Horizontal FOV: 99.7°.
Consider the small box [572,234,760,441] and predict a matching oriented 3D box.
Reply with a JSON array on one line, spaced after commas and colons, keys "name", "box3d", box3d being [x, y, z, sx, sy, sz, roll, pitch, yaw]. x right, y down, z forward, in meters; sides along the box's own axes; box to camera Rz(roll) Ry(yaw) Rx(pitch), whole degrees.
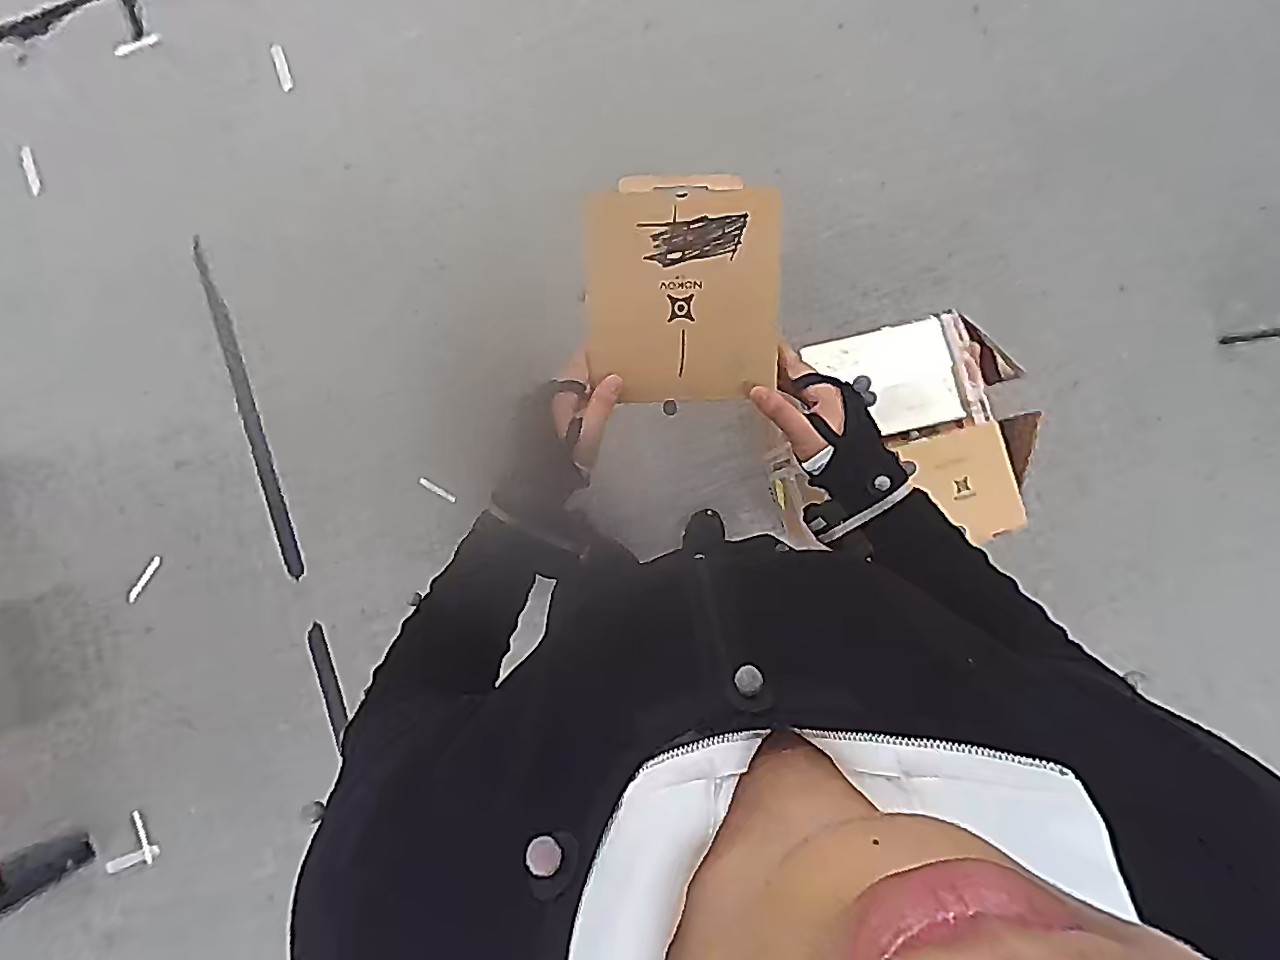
[{"name": "small box", "box3d": [0.023, -0.136, 0.554, 0.168, 0.176, 0.179, -2, 100, 0]}]
